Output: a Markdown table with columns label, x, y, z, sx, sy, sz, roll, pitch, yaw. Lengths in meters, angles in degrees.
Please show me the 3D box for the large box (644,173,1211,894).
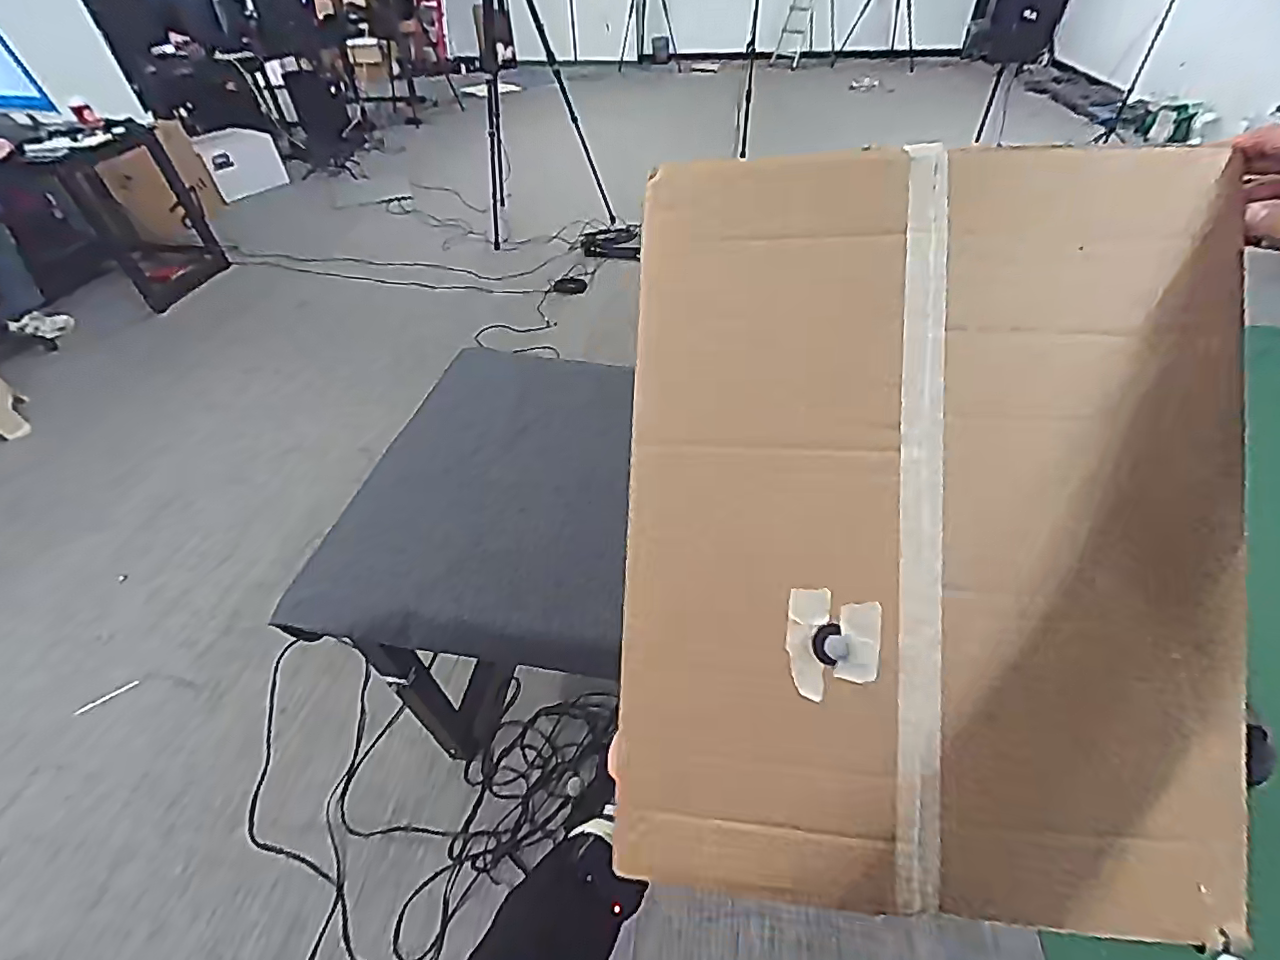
| label | x | y | z | sx | sy | sz | roll | pitch | yaw |
| --- | --- | --- | --- | --- | --- | --- | --- | --- | --- |
| large box | 0.171 | 0.027 | 0.457 | 0.320 | 0.320 | 0.408 | 1 | 89 | 6 |
